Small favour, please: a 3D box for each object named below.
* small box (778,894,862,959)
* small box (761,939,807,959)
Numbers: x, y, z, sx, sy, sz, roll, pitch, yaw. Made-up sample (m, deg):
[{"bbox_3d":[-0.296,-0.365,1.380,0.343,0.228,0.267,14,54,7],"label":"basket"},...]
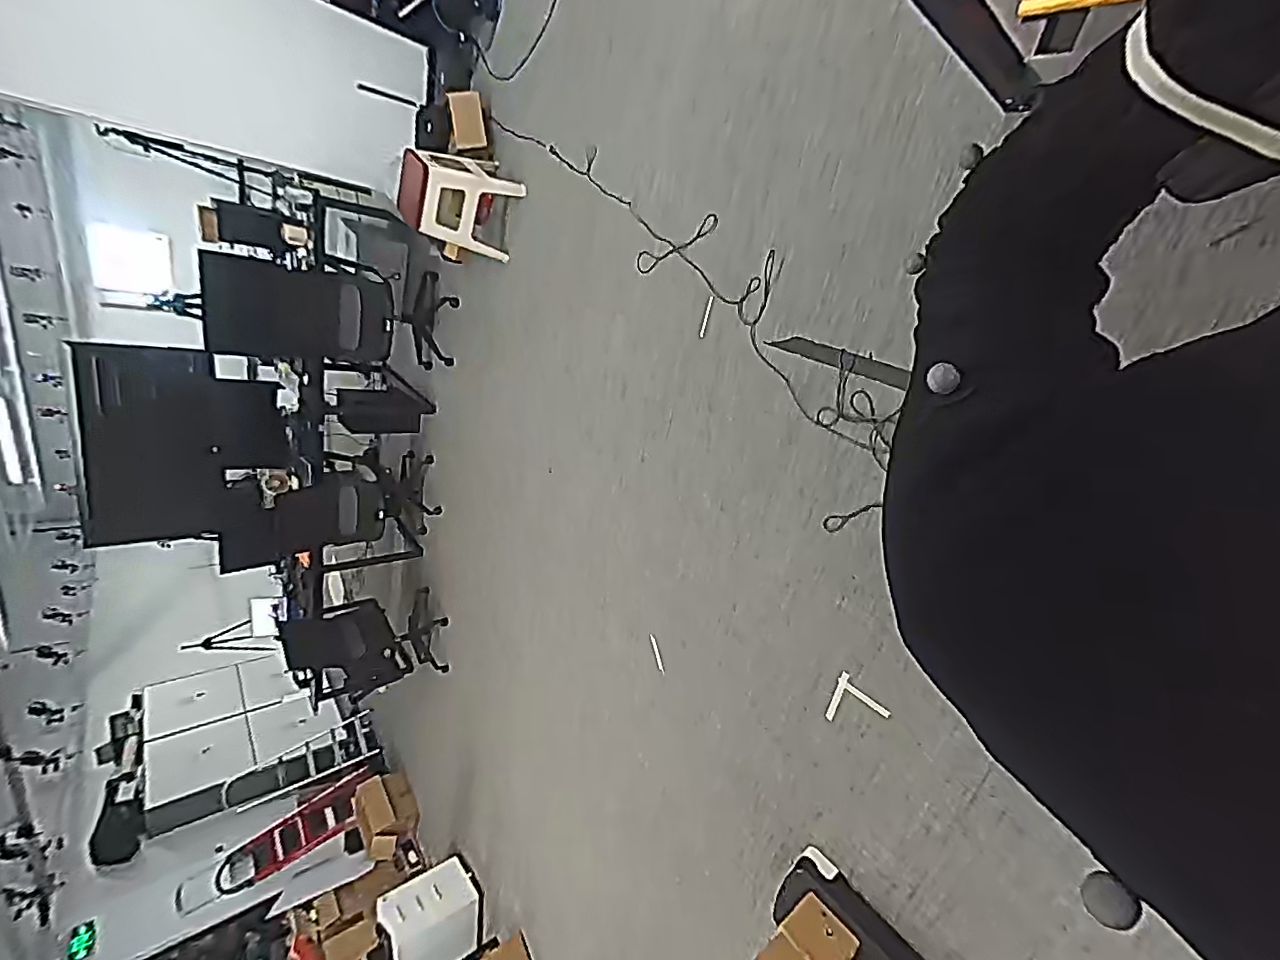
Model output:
[{"bbox_3d":[0.501,1.344,1.535,0.168,0.176,0.179,30,117,42],"label":"small box"},{"bbox_3d":[0.378,1.374,1.429,0.179,0.176,0.168,36,121,39],"label":"small box"}]
